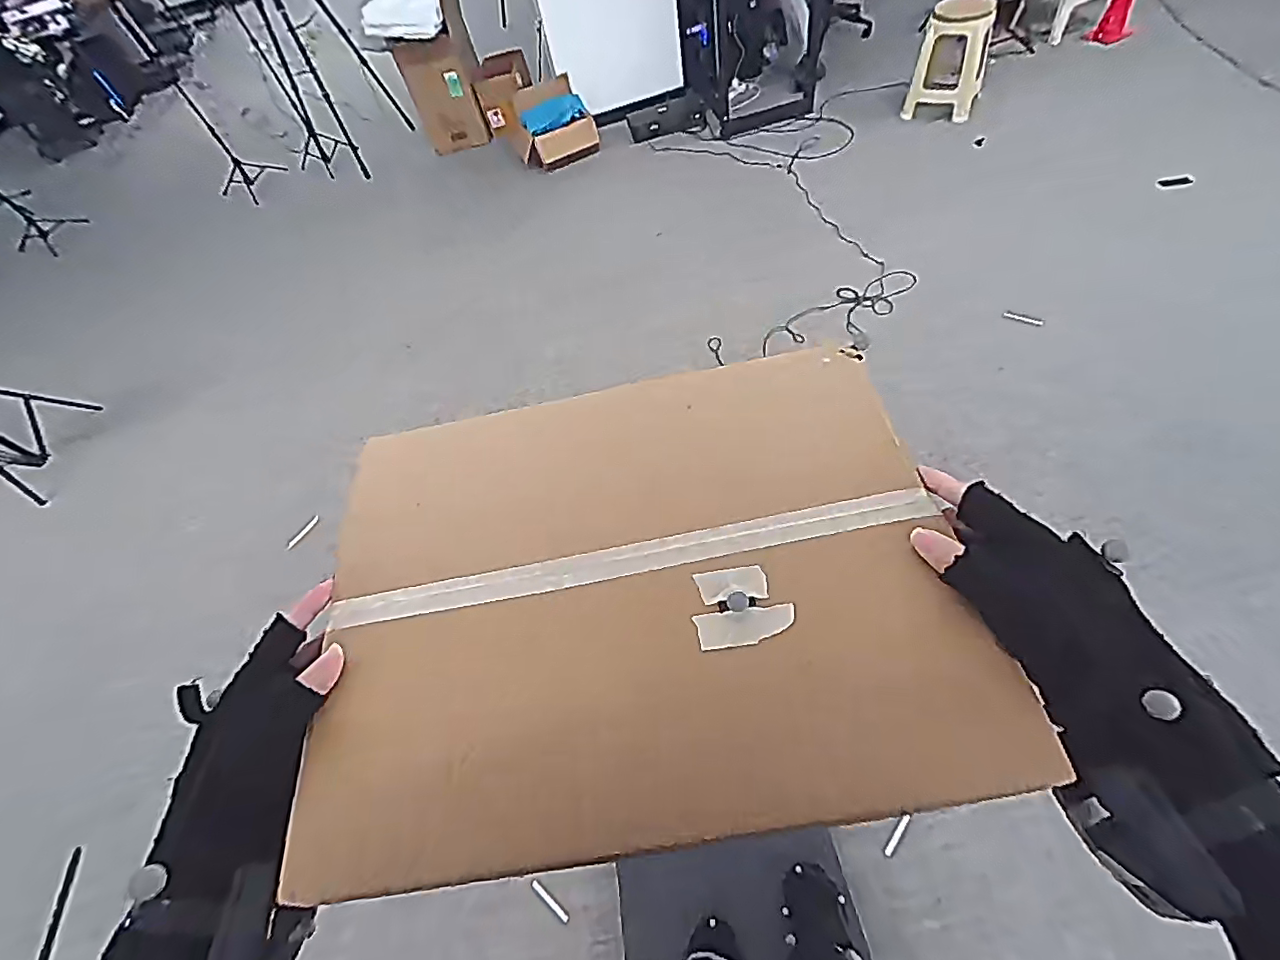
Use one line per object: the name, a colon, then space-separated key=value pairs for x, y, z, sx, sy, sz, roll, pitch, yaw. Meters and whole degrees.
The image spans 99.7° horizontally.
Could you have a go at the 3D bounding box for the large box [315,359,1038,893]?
large box: x=0.015 y=0.143 z=0.492 sx=0.408 sy=0.320 sz=0.320 roll=-11 pitch=56 yaw=3
